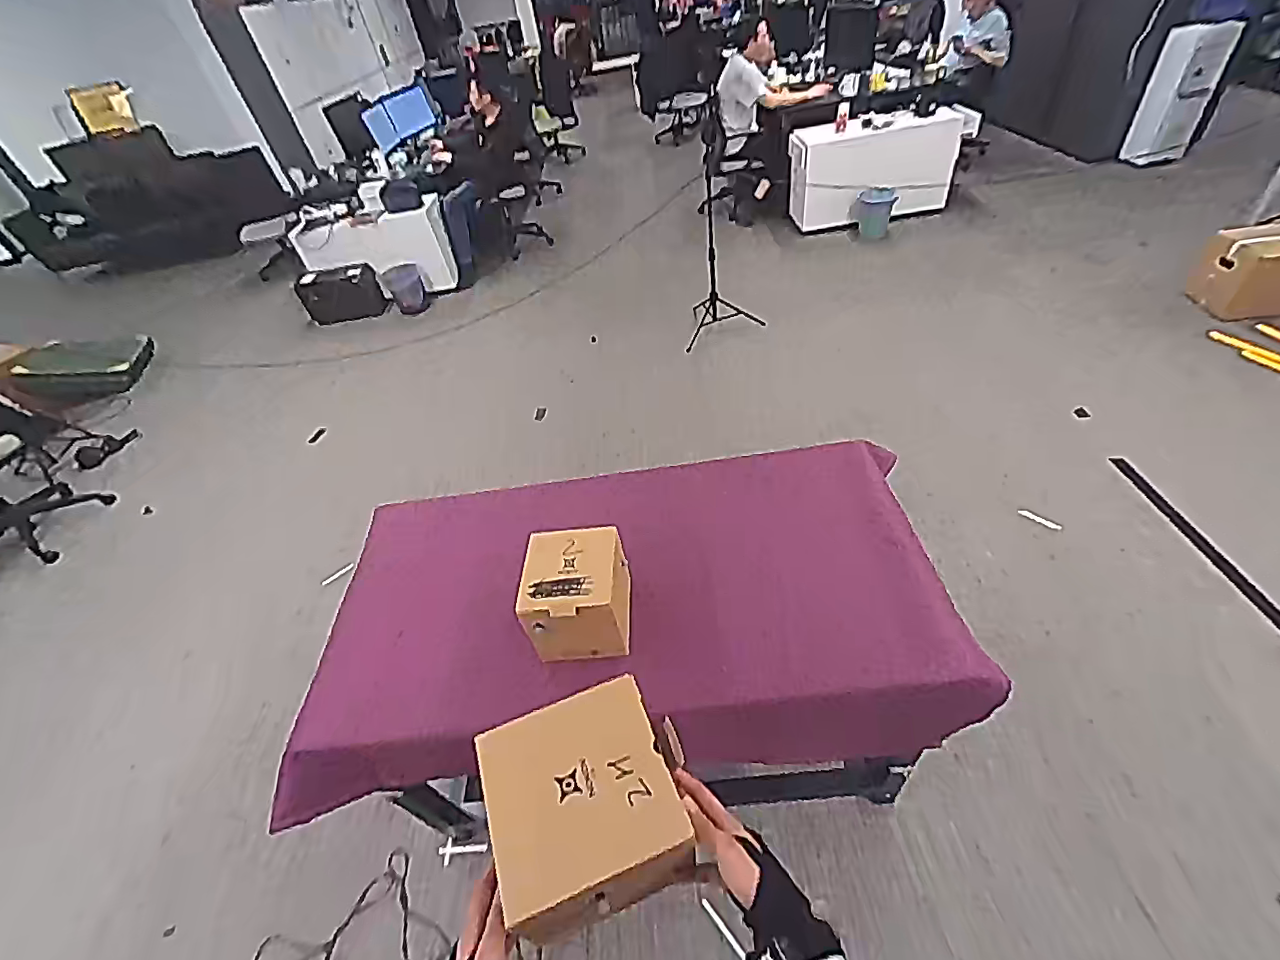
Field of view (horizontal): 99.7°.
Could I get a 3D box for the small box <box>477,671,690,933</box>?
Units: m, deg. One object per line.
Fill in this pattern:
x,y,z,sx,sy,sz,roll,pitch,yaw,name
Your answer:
-0.054,0.343,0.575,0.179,0.176,0.168,-18,46,-12,small box
